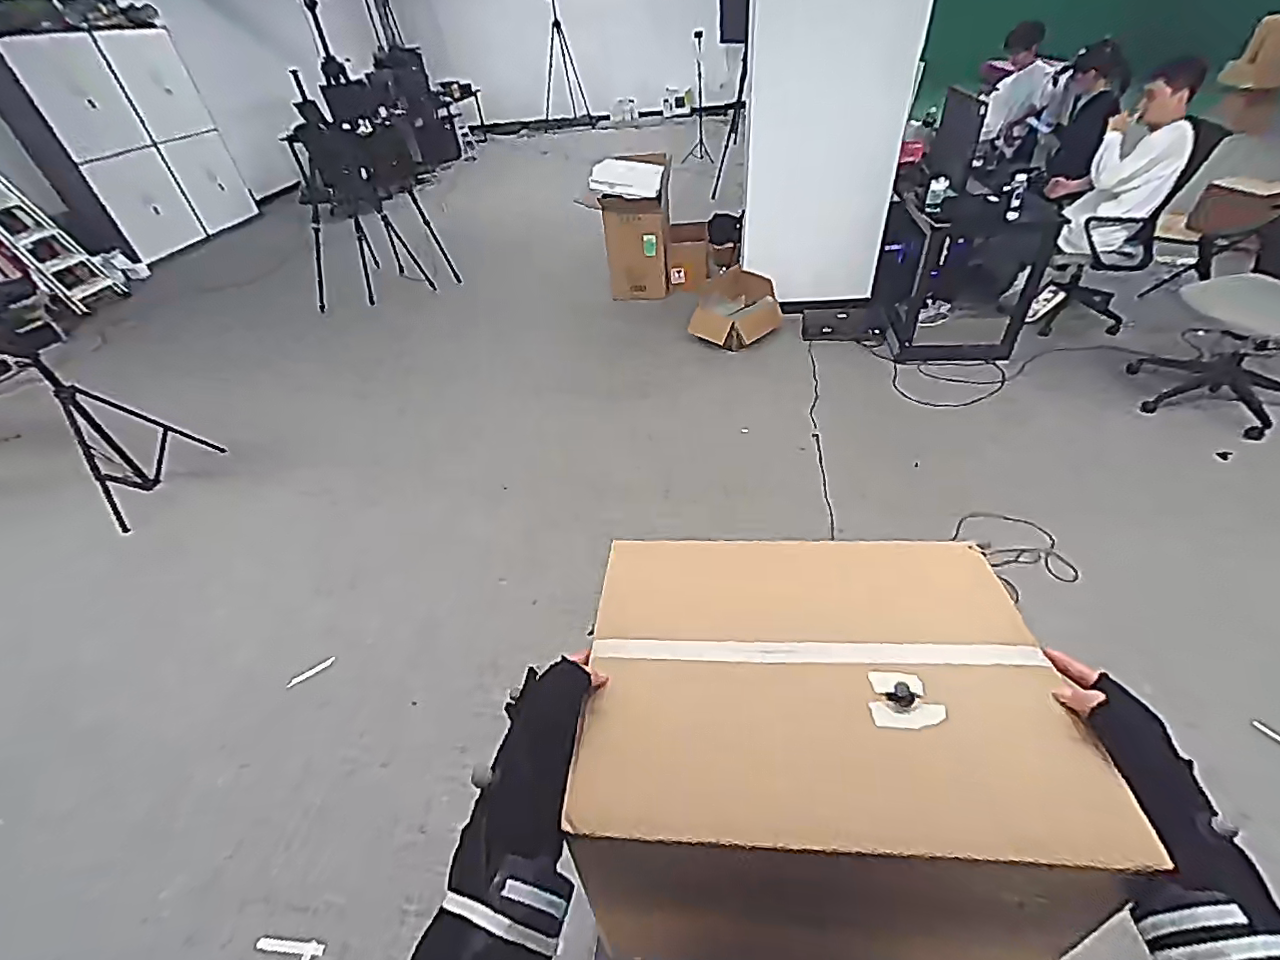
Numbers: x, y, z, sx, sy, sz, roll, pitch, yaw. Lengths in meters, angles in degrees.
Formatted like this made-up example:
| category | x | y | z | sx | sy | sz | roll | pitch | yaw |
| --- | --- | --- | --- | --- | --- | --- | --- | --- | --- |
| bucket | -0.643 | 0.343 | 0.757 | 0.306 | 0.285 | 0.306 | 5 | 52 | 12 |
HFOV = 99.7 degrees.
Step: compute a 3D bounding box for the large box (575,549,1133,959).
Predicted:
| category | x | y | z | sx | sy | sz | roll | pitch | yaw |
| --- | --- | --- | --- | --- | --- | --- | --- | --- | --- |
| large box | 0.166 | 0.291 | 0.595 | 0.408 | 0.320 | 0.320 | -1 | 36 | 6 |
